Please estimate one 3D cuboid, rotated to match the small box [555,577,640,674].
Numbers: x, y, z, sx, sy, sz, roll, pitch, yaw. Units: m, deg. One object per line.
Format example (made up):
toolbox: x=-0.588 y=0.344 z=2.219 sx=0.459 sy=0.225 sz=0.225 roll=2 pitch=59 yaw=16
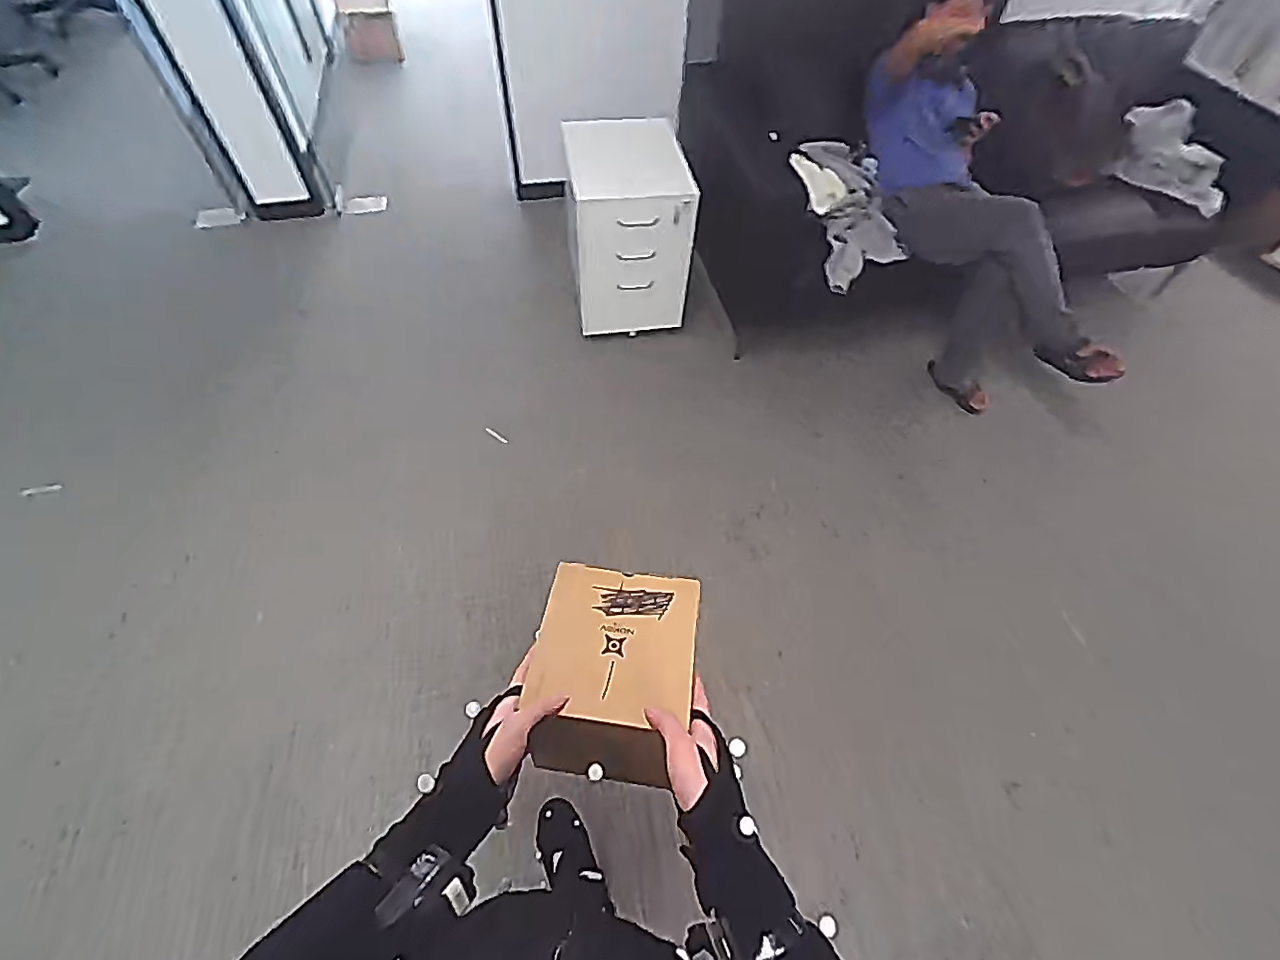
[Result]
small box: x=-0.104 y=0.356 z=1.311 sx=0.179 sy=0.176 sz=0.168 roll=-9 pitch=59 yaw=-11
